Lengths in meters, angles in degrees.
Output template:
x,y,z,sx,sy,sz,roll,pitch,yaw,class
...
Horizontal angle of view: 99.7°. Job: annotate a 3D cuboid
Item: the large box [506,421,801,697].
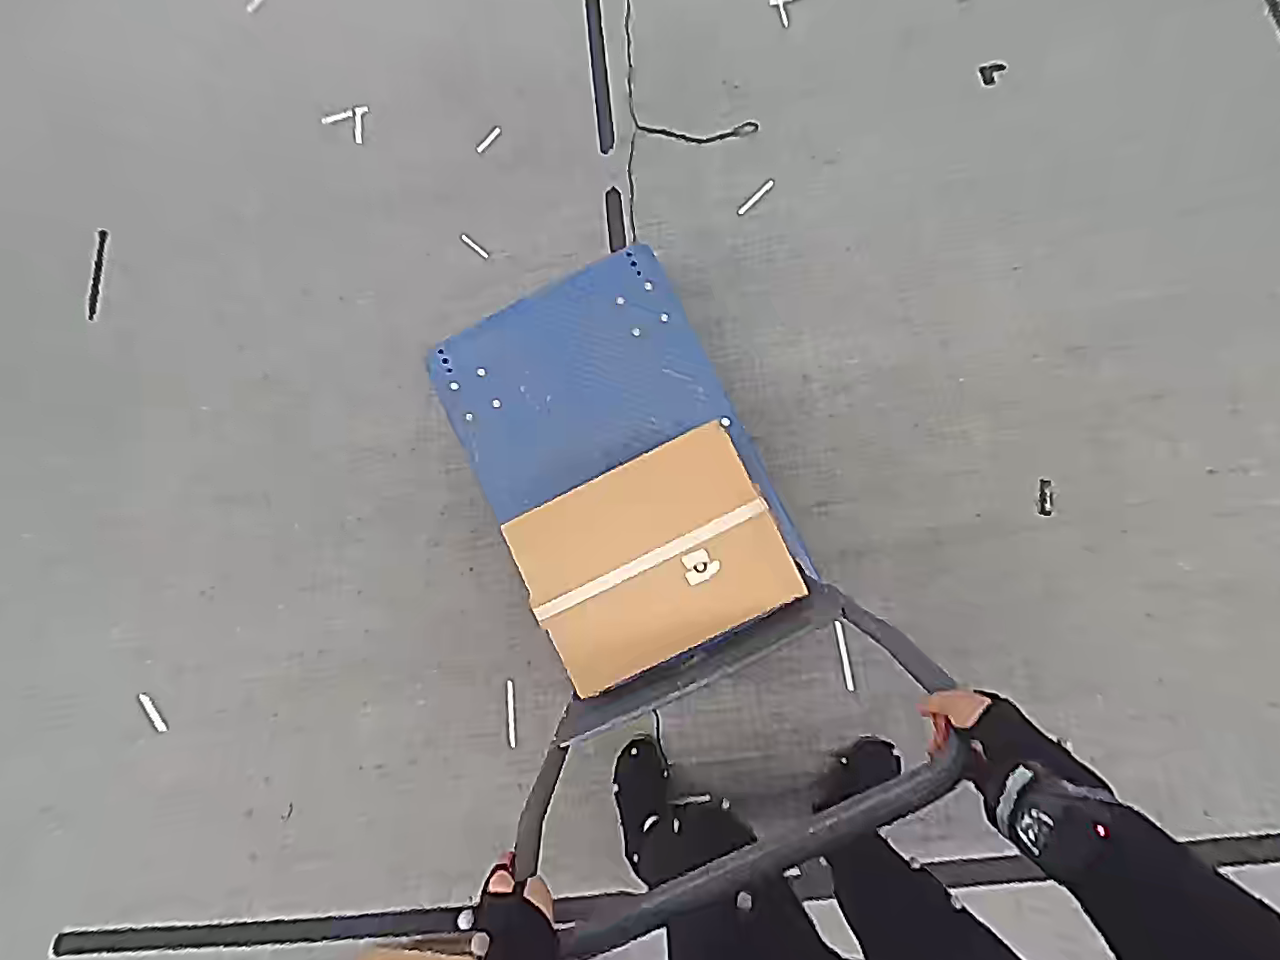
x,y,z,sx,sy,sz,roll,pitch,yaw,class
0.025,0.138,1.029,0.408,0.320,0.320,-28,86,1,large box
